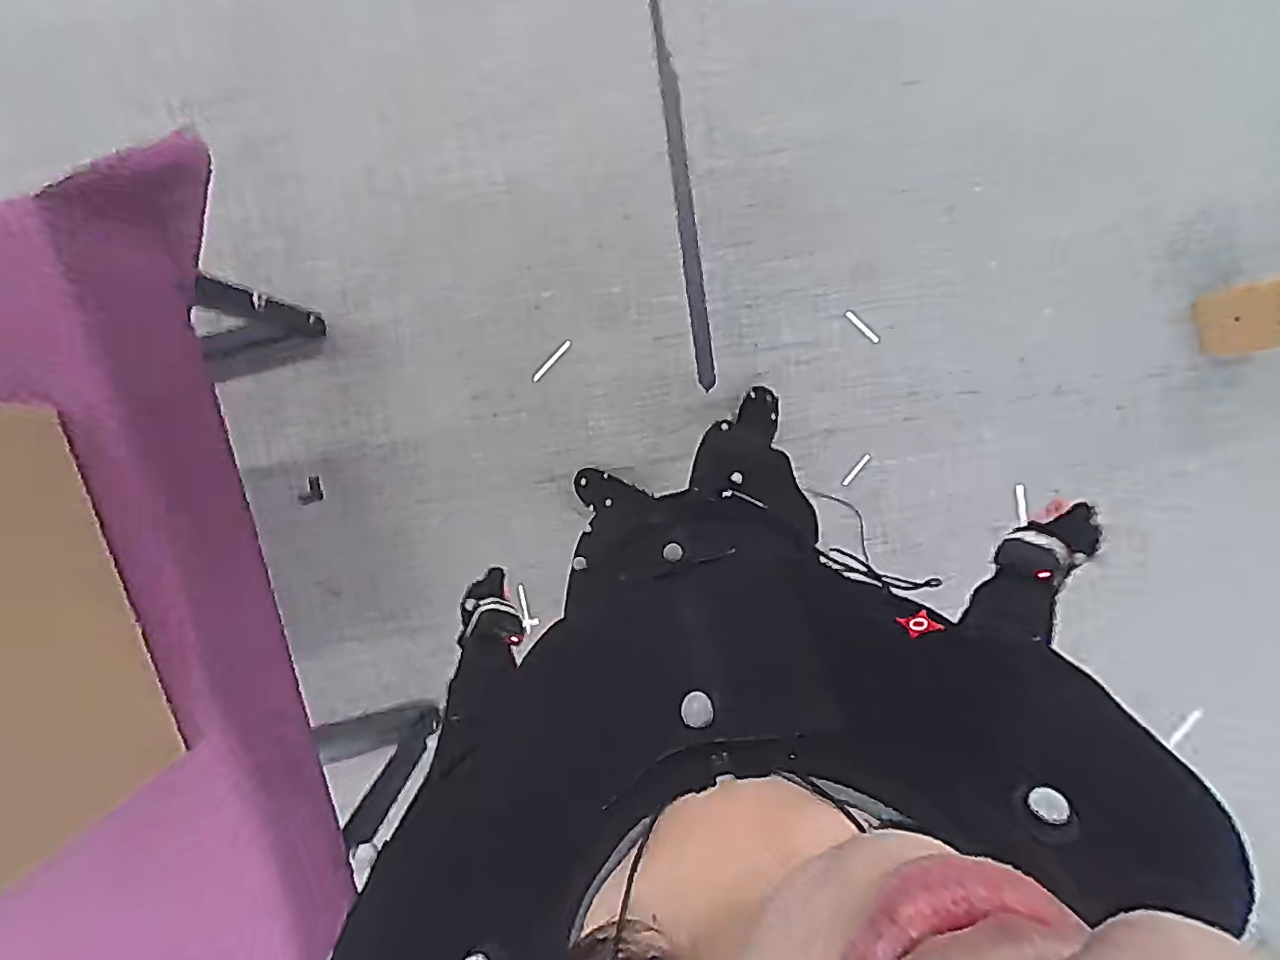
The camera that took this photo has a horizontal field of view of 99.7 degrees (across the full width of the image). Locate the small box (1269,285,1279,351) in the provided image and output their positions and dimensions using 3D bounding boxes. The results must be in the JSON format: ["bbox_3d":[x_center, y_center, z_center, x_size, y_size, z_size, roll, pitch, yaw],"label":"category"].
[{"bbox_3d":[1.672,-0.413,1.289,0.179,0.176,0.168,-14,97,-2],"label":"small box"}]

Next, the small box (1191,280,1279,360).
[{"bbox_3d":[1.652,-0.429,1.450,0.168,0.176,0.179,-18,95,-1],"label":"small box"}]
